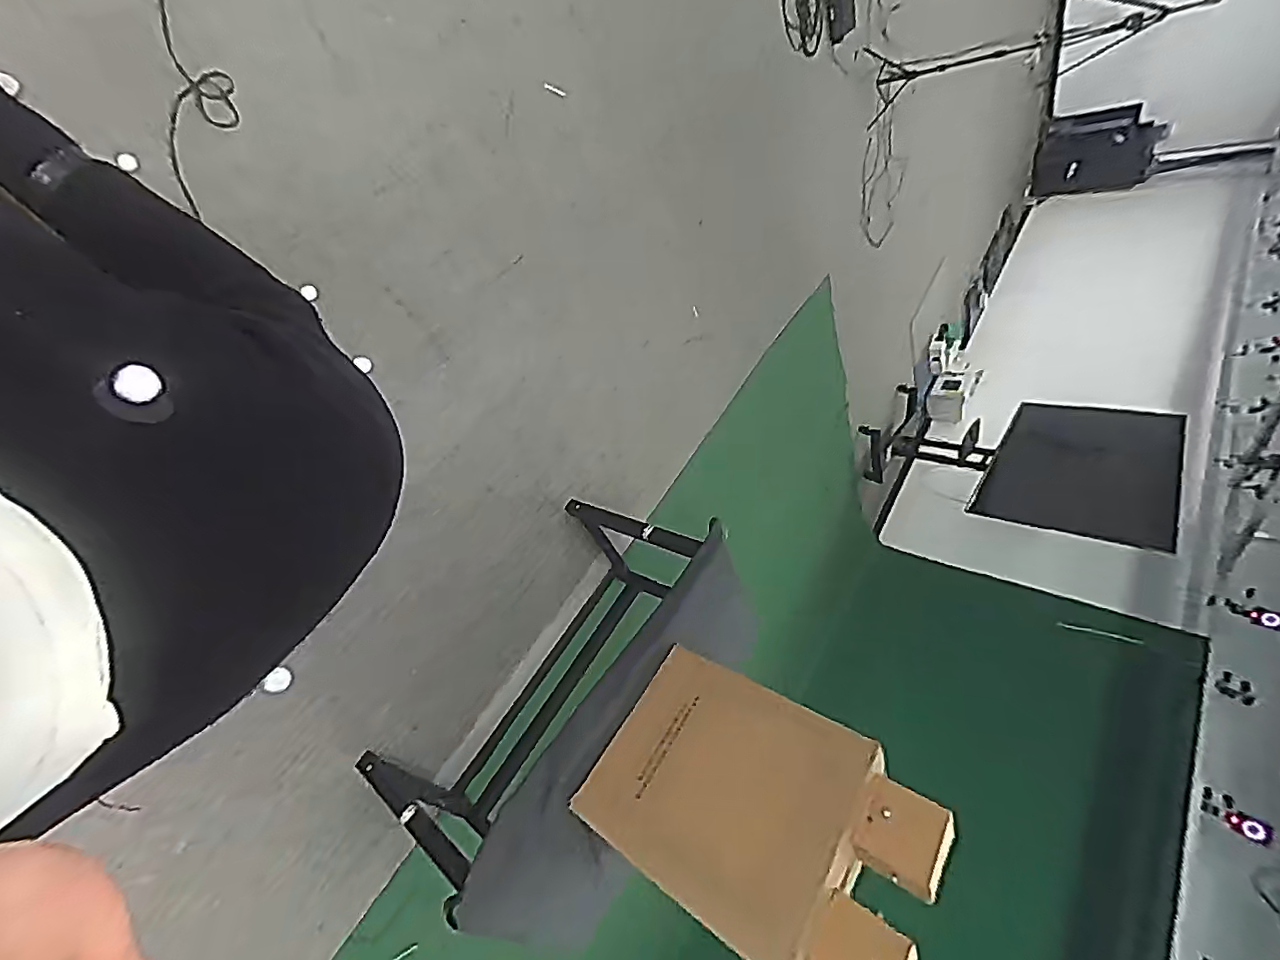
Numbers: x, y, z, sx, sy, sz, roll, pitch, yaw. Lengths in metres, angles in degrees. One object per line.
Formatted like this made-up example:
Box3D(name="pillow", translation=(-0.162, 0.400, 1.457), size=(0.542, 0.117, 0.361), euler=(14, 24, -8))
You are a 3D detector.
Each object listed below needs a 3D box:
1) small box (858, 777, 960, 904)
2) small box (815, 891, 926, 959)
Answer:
Box3D(name="small box", translation=(0.628, 0.832, 1.260), size=(0.168, 0.176, 0.179), euler=(-51, 132, -28))
Box3D(name="small box", translation=(0.490, 1.034, 1.155), size=(0.179, 0.176, 0.168), euler=(-50, 131, -25))
